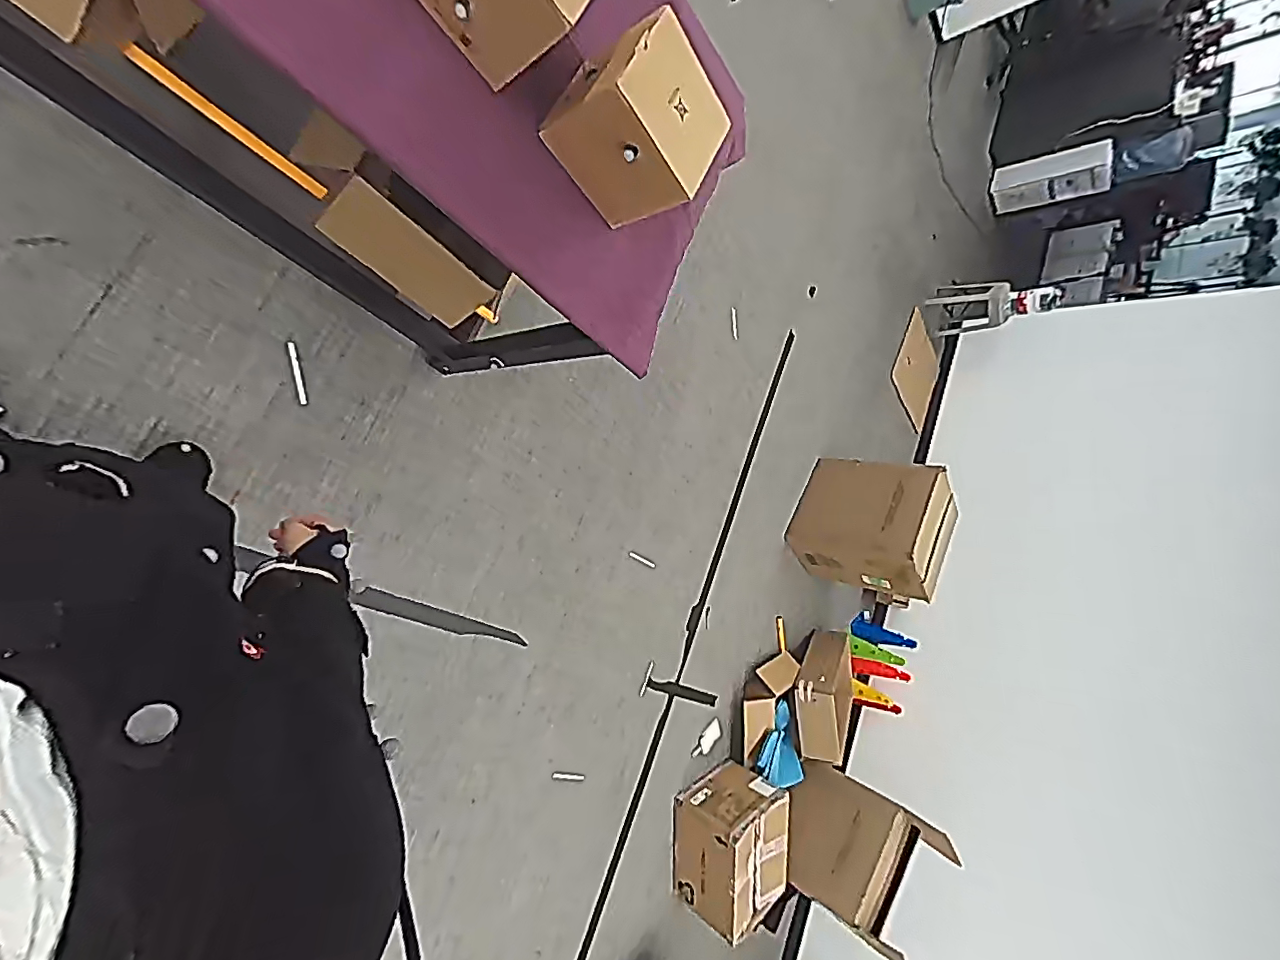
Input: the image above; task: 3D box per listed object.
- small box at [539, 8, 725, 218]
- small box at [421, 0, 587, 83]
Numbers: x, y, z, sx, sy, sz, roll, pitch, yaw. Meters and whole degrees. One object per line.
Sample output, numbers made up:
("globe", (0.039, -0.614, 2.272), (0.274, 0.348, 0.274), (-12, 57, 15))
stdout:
("small box", (-0.011, -0.513, 0.790), (0.179, 0.176, 0.168), (41, 66, -40))
("small box", (-0.152, -0.623, 0.629), (0.168, 0.176, 0.179), (38, 68, -41))
